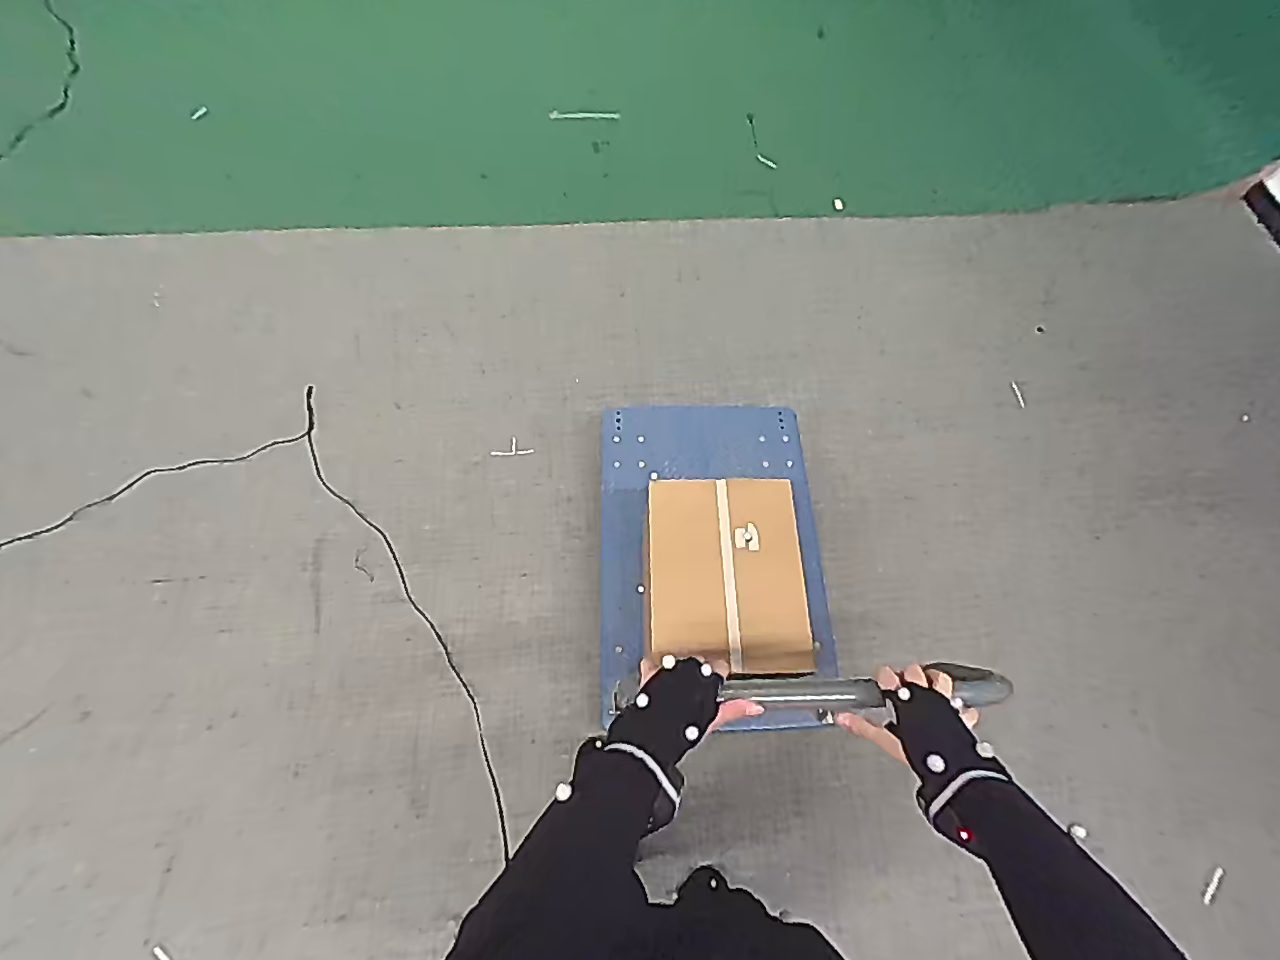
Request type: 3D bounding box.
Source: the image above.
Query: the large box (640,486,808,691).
[{"bbox_3d":[0.162,0.259,1.249,0.320,0.320,0.408,1,64,-3],"label":"large box"}]
